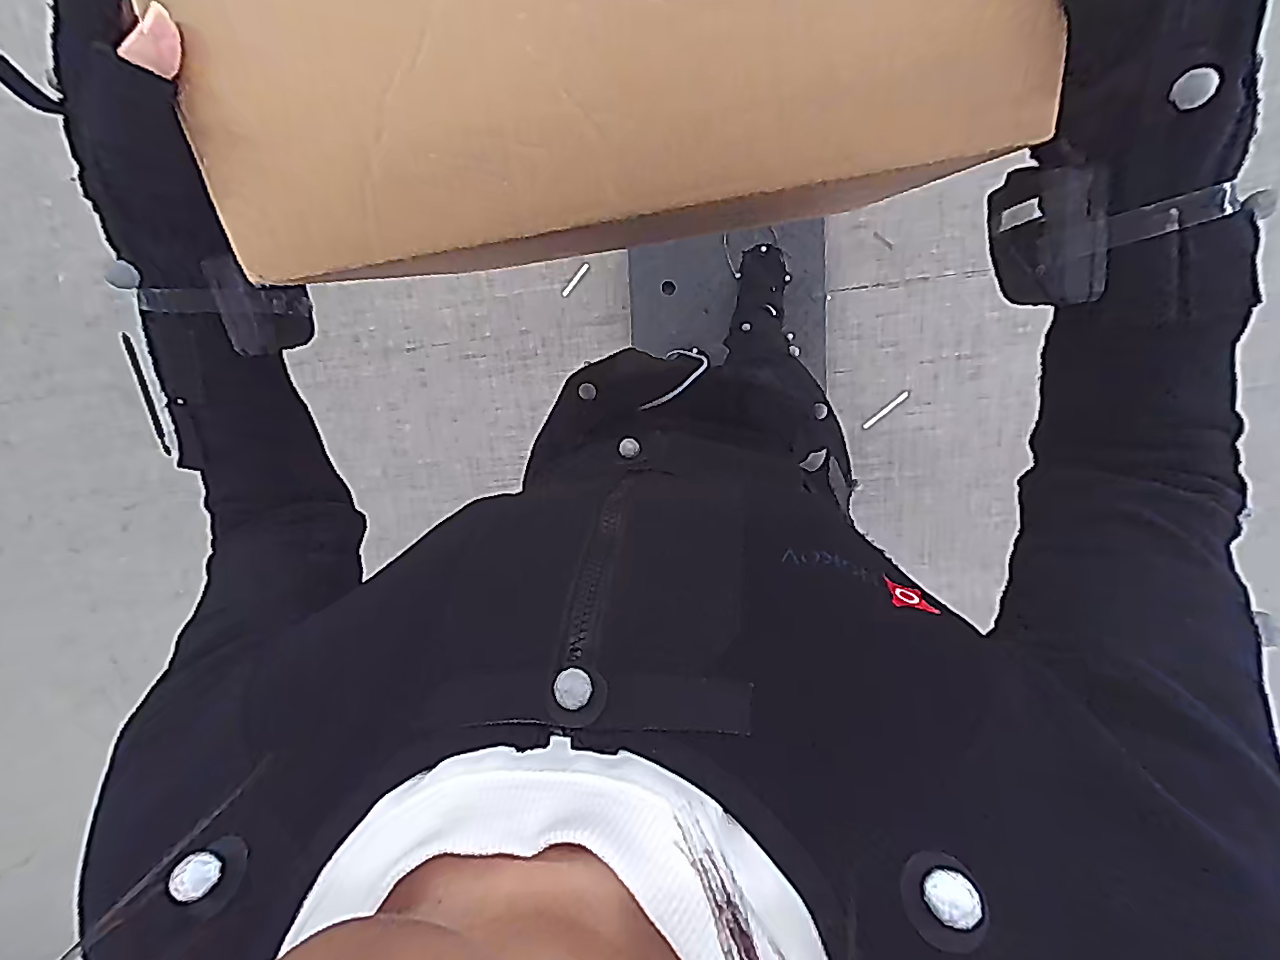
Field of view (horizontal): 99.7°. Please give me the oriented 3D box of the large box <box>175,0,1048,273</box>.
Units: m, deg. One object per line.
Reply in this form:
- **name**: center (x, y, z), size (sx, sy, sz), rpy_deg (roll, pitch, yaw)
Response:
- **large box**: center (-0.022, -0.338, 0.363), size (0.408, 0.320, 0.320), rpy_deg (-6, 112, 10)
